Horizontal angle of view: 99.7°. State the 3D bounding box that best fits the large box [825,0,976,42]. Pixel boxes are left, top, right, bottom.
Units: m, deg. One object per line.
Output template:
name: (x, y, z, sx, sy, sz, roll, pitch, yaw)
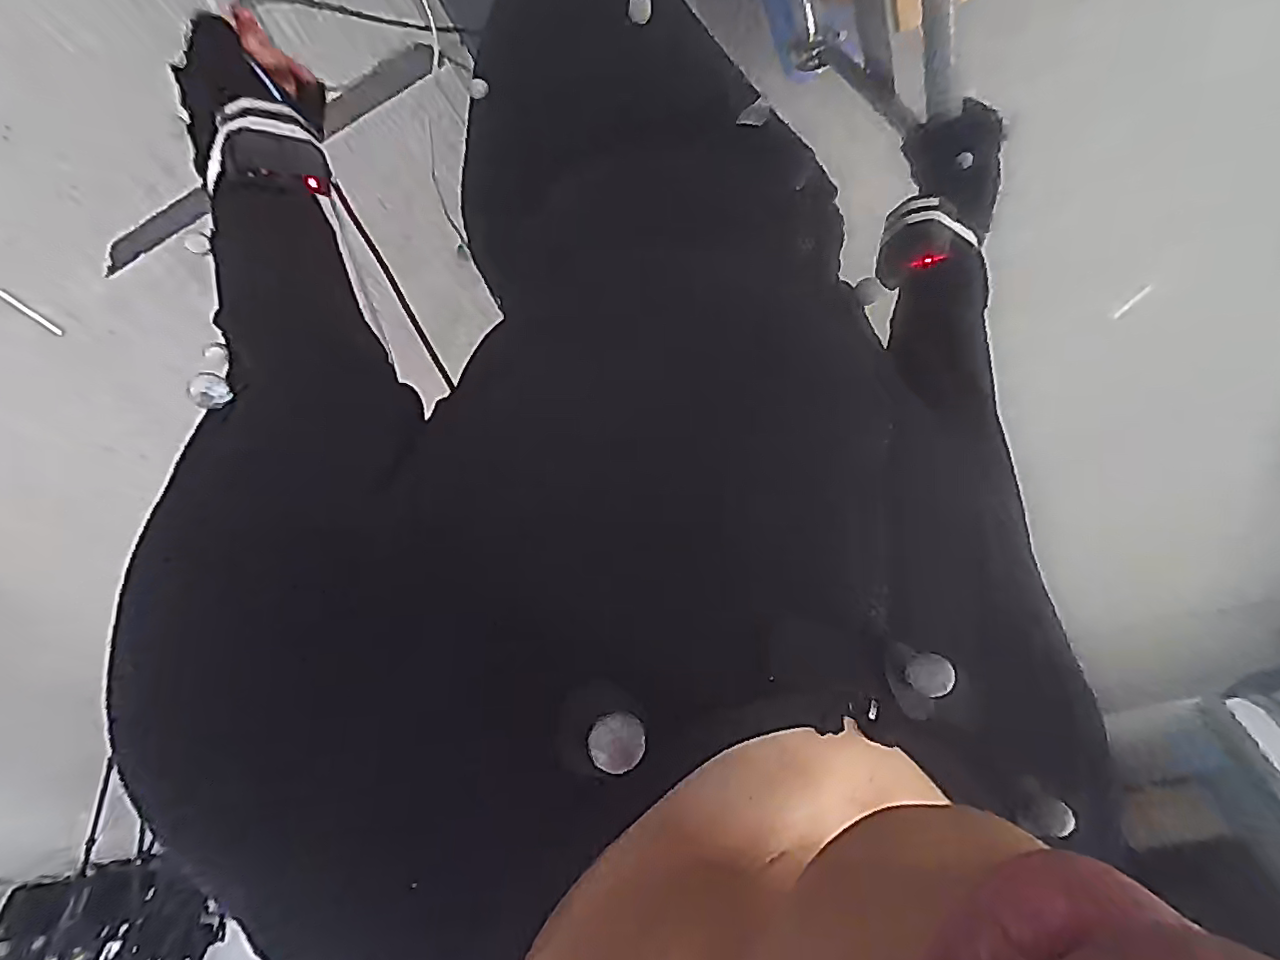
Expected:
large box: (0.393, -0.887, 0.676, 0.320, 0.320, 0.408, -20, 138, 16)
